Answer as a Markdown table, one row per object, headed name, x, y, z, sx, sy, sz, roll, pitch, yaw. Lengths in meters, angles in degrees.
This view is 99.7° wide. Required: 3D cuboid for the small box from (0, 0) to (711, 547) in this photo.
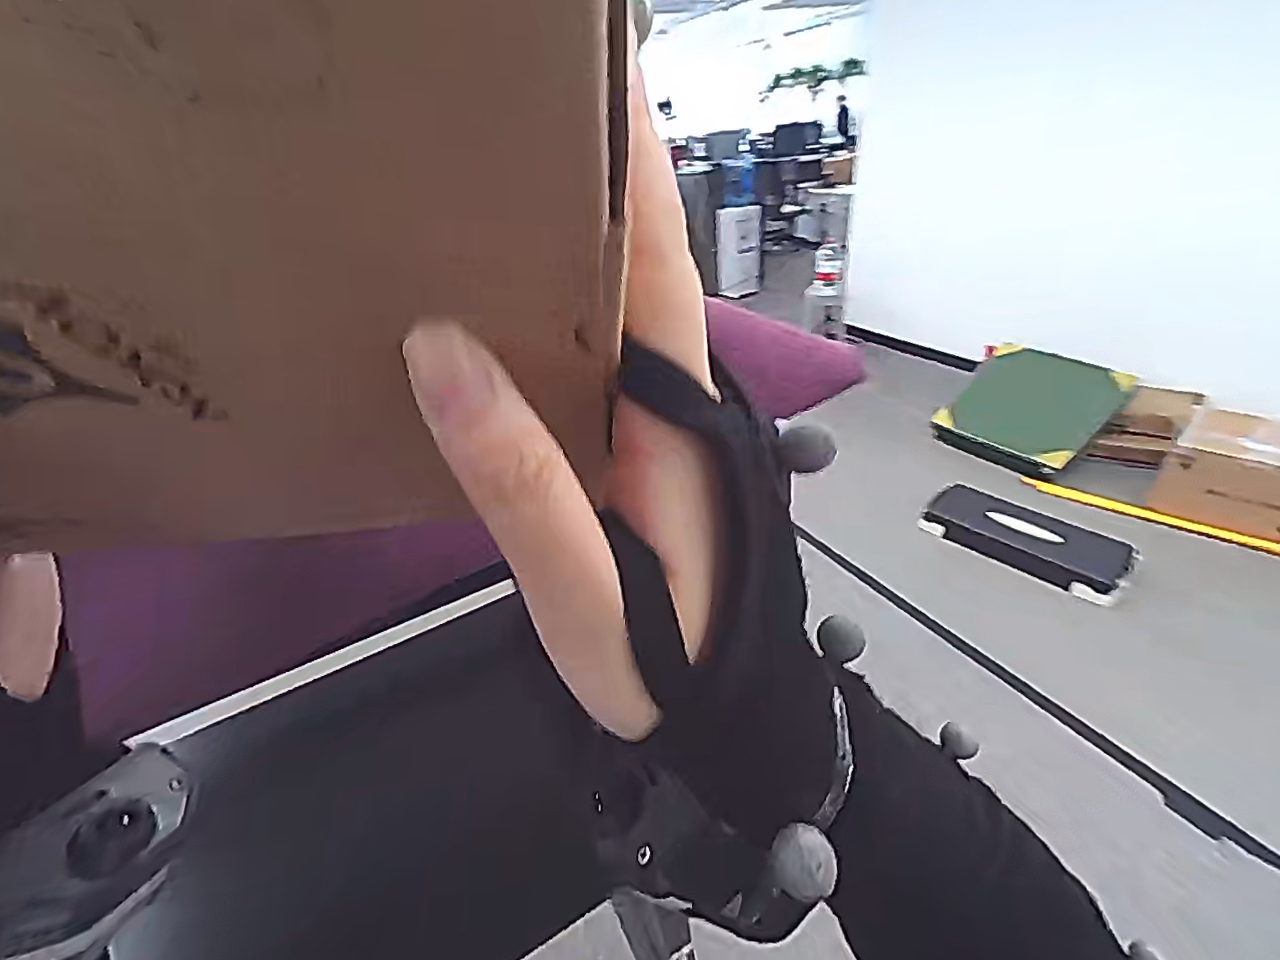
| name | x | y | z | sx | sy | sz | roll | pitch | yaw |
| --- | --- | --- | --- | --- | --- | --- | --- | --- | --- |
| small box | -0.092 | -0.096 | 0.115 | 0.179 | 0.168 | 0.176 | -6 | 68 | -6 |
